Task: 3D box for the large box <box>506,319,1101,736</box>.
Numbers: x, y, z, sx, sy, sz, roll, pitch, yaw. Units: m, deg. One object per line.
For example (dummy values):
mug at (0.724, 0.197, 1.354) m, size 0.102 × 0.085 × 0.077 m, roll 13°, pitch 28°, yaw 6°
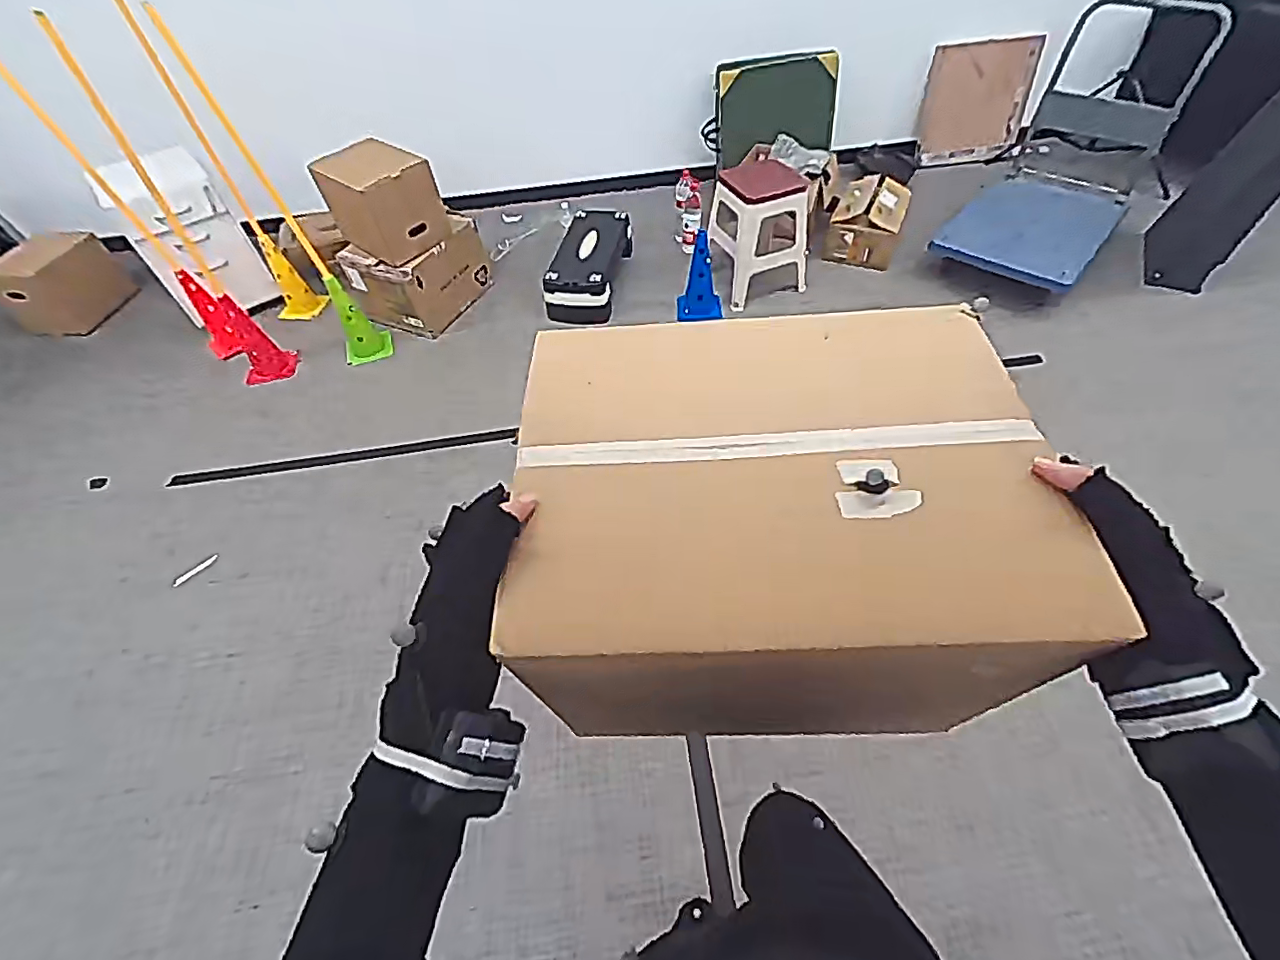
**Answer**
large box at (0.111, 0.066, 0.565) m, size 0.408 × 0.320 × 0.320 m, roll -3°, pitch 55°, yaw 3°
